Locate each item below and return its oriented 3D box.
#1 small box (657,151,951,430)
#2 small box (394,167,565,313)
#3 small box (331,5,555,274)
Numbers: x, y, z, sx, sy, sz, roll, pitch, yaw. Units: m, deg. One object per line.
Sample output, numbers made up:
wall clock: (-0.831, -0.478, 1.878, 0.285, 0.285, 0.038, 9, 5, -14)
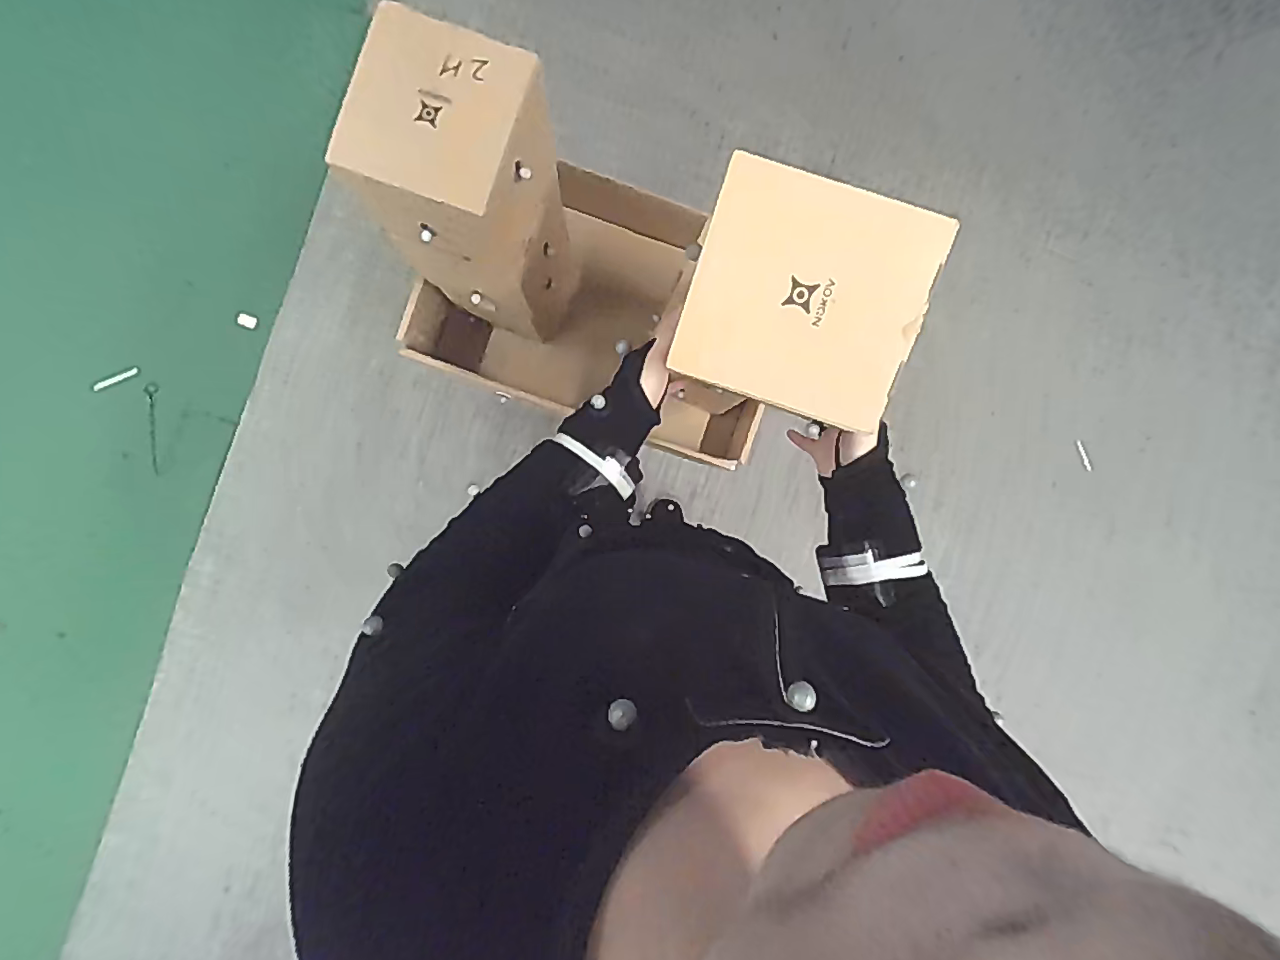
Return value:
small box: (0.124, -0.151, 0.483, 0.179, 0.176, 0.168, 18, 101, 1)
small box: (-0.217, -0.362, 0.786, 0.179, 0.176, 0.168, 18, 88, -2)
small box: (-0.206, -0.367, 0.621, 0.168, 0.176, 0.179, 20, 88, -2)
